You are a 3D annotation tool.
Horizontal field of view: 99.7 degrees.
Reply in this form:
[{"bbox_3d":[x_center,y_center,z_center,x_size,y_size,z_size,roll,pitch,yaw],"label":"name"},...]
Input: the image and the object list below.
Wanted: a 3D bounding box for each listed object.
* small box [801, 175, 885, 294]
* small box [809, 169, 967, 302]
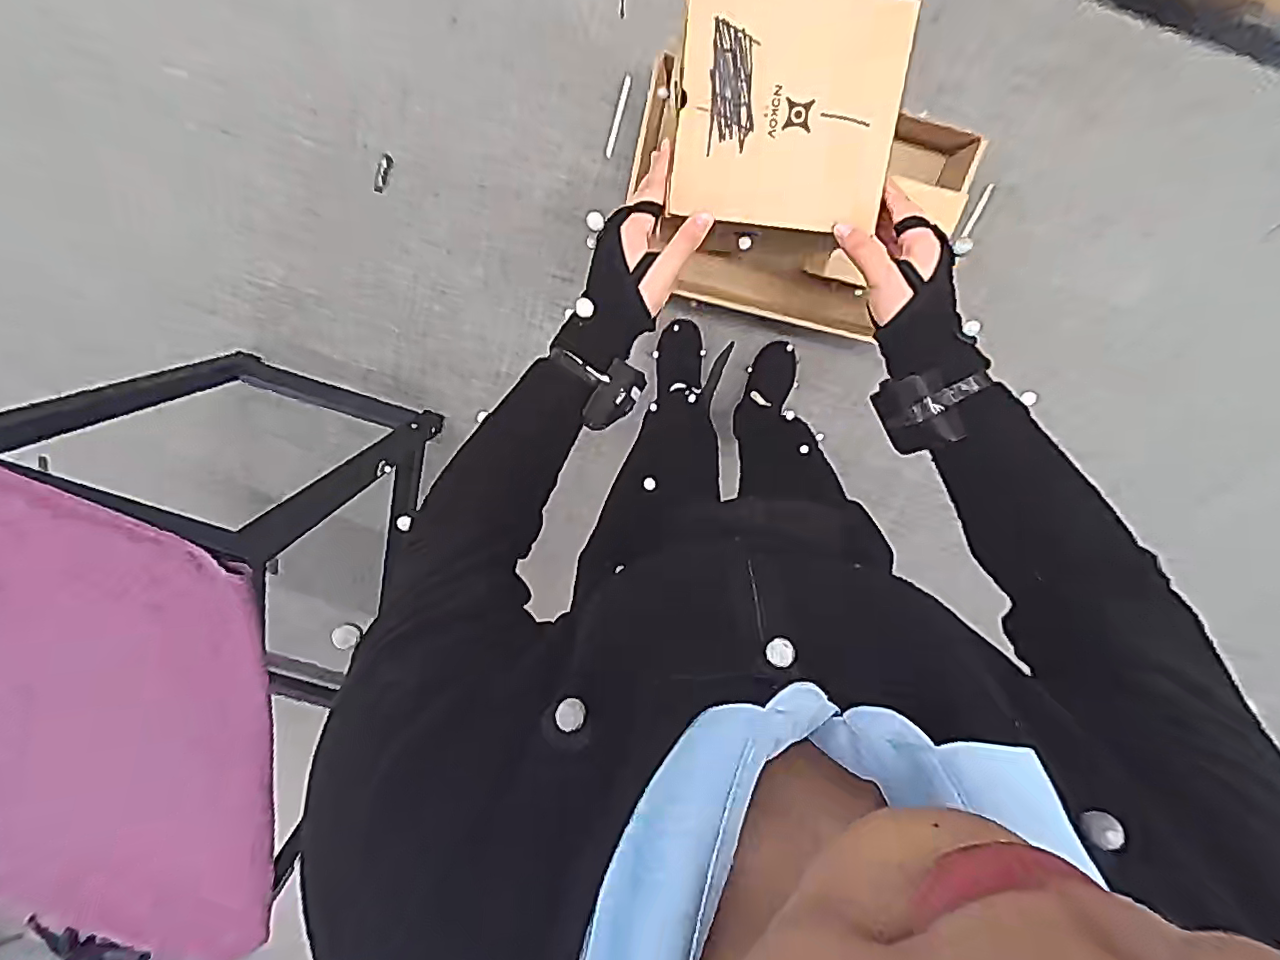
[{"bbox_3d":[0.440,-0.493,1.099,0.168,0.176,0.179,16,114,-1],"label":"small box"},{"bbox_3d":[0.420,-0.427,0.952,0.179,0.176,0.168,16,115,0],"label":"small box"}]
